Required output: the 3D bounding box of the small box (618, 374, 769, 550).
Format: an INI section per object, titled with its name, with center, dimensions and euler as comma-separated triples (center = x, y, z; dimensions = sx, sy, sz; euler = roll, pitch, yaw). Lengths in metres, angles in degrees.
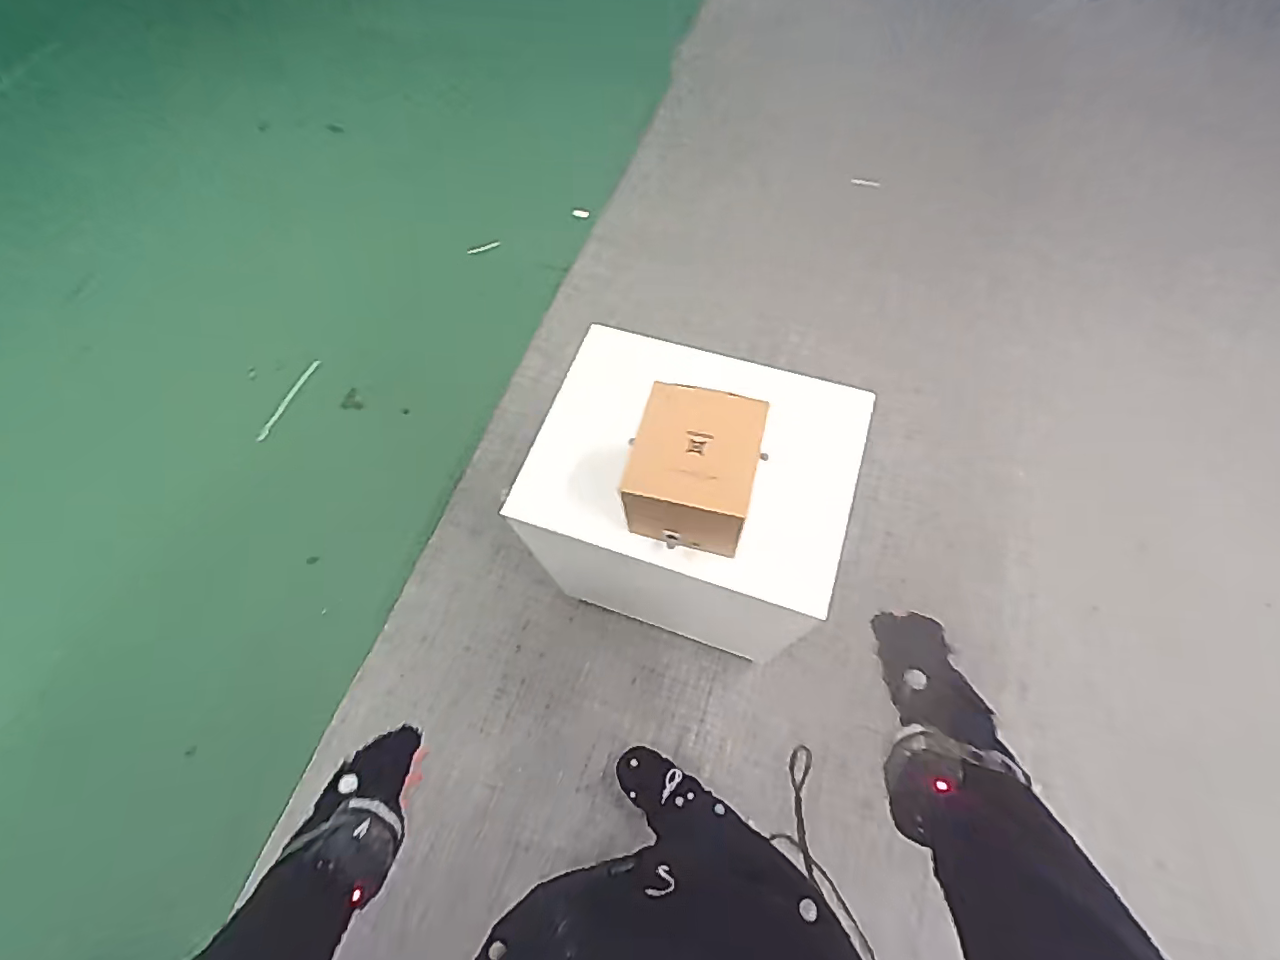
[small box]
center = 0.077, -0.020, 0.764
dimensions = 0.168, 0.176, 0.179
euler = 11, 68, 11
